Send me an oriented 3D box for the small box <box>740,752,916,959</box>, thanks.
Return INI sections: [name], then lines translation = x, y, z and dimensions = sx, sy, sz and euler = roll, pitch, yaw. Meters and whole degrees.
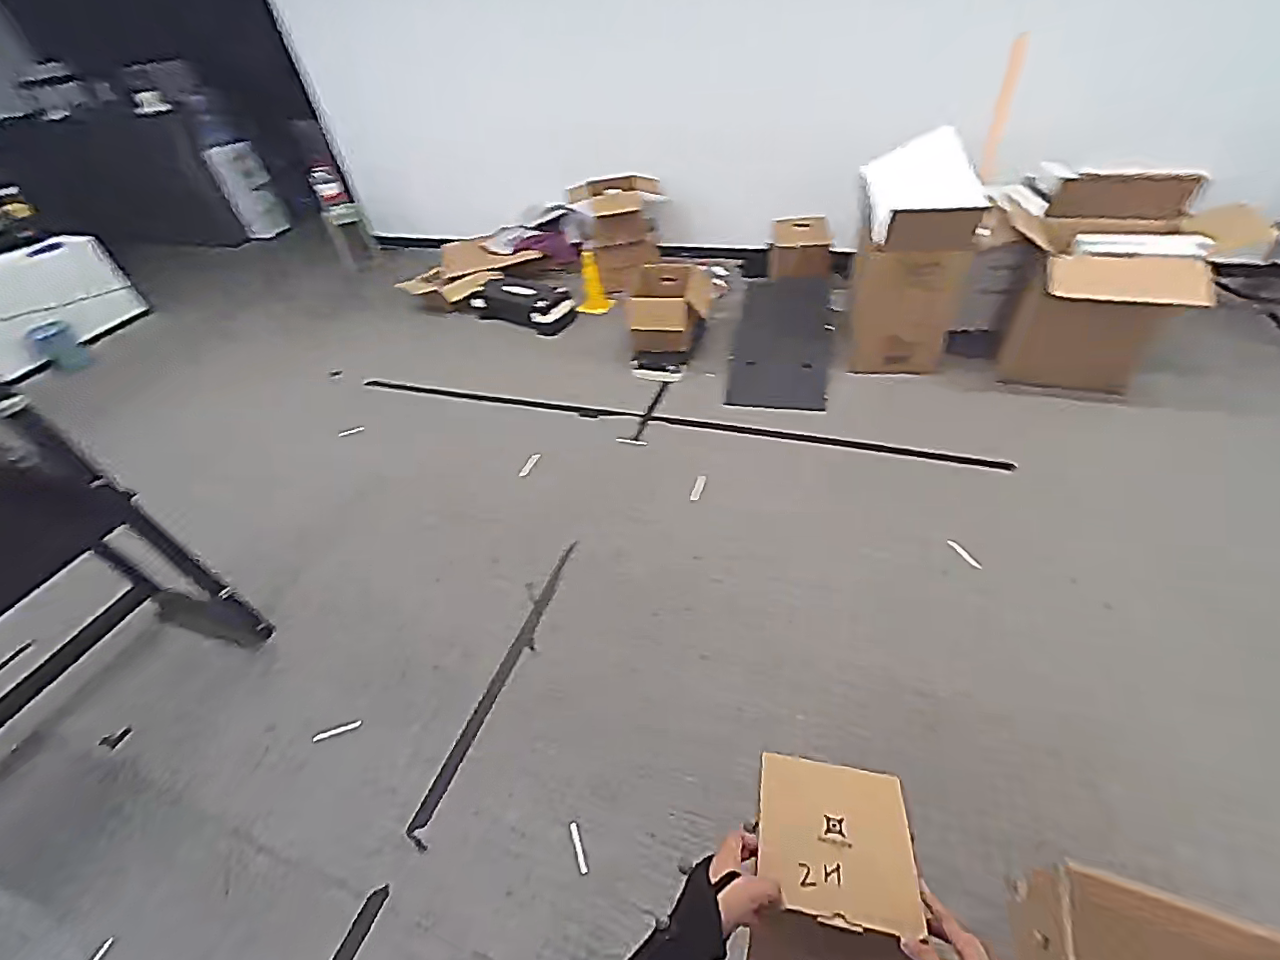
[small box]
translation = 0.209, 0.468, 0.646
dimensions = 0.168, 0.176, 0.179
euler = 4, 29, 12
